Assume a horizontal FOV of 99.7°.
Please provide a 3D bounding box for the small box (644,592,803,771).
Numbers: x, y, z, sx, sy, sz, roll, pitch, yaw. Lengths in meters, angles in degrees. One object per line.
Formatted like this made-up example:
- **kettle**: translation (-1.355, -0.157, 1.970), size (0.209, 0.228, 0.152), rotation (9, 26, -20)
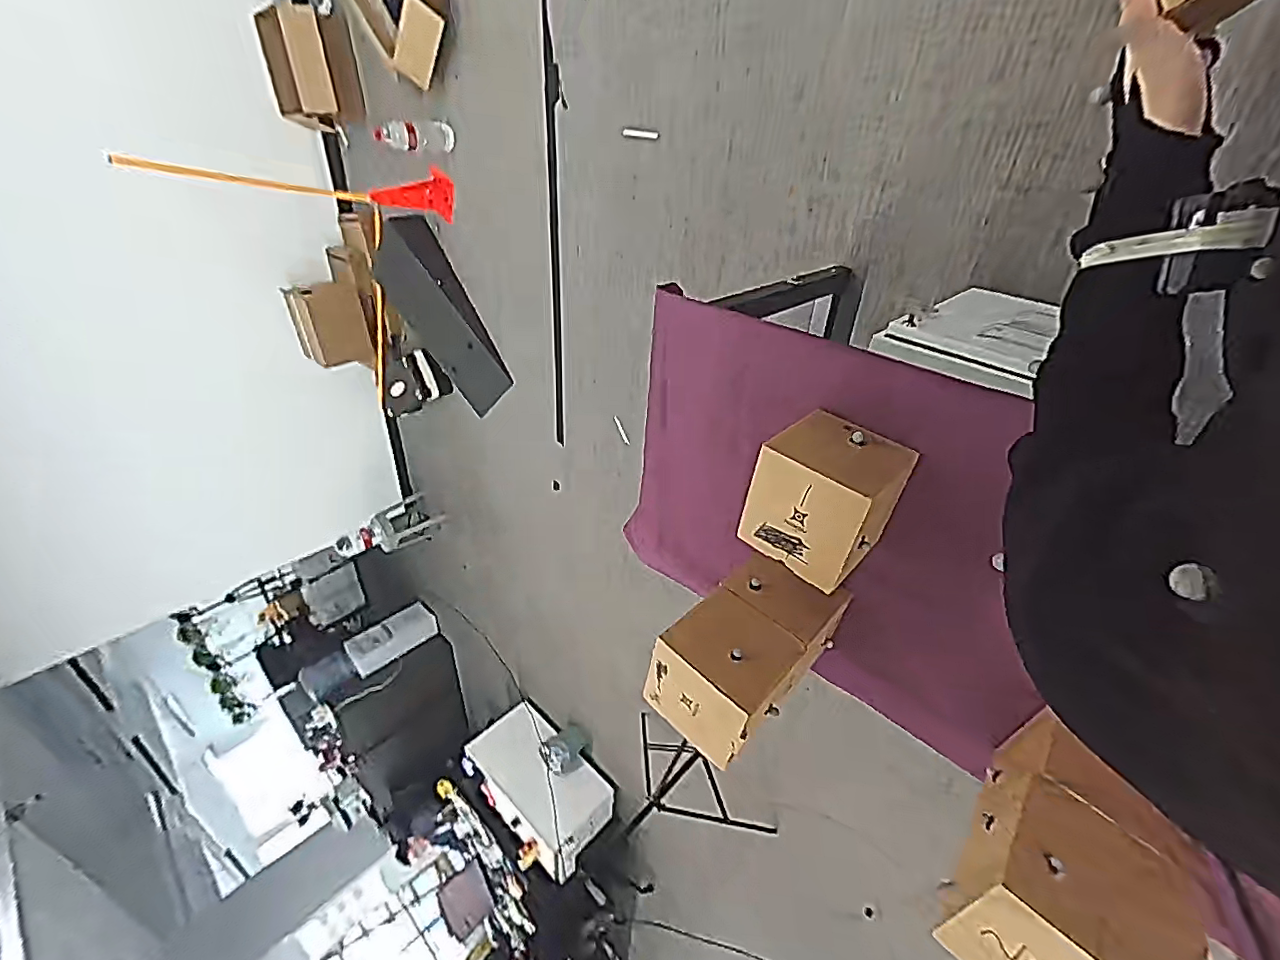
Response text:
- **small box**: translation (0.134, 0.312, 0.872), size (0.179, 0.176, 0.168), rotation (34, 132, 29)

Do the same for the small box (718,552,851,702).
- **small box**: translation (0.245, 0.250, 0.976), size (0.179, 0.176, 0.168), rotation (33, 133, 30)

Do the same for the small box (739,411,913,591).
- **small box**: translation (0.276, 0.024, 0.807), size (0.168, 0.176, 0.179), rotation (32, 134, 30)

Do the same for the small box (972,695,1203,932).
- **small box**: translation (0.586, 0.430, 0.715), size (0.168, 0.176, 0.179), rotation (34, 131, 28)
